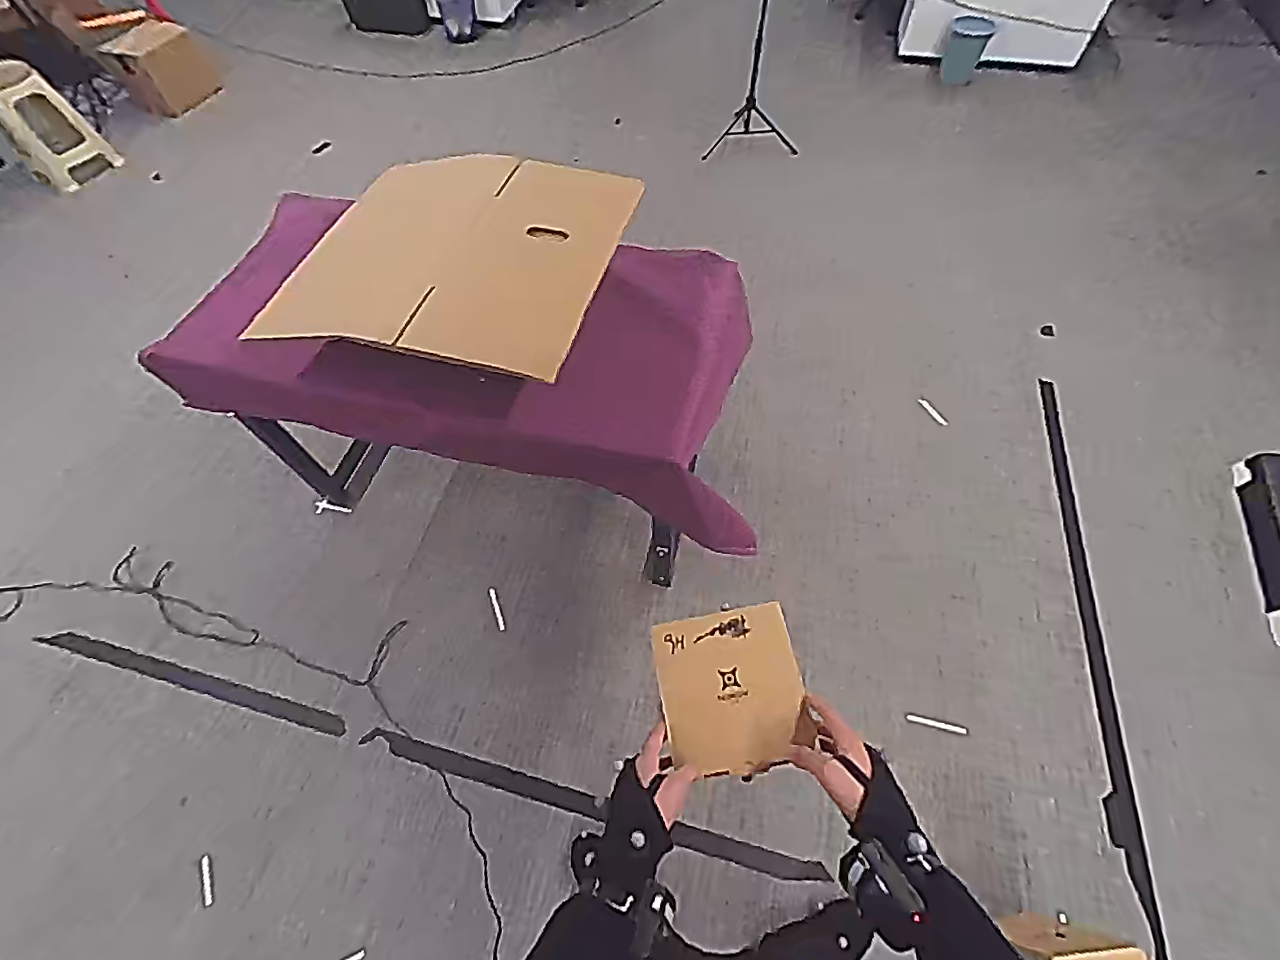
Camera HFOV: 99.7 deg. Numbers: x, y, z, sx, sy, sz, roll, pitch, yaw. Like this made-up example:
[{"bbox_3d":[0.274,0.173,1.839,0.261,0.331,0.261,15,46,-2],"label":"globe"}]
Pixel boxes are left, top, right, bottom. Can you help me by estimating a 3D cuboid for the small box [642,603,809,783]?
[{"bbox_3d":[0.106,0.276,0.706,0.168,0.176,0.179,-12,64,2],"label":"small box"}]
